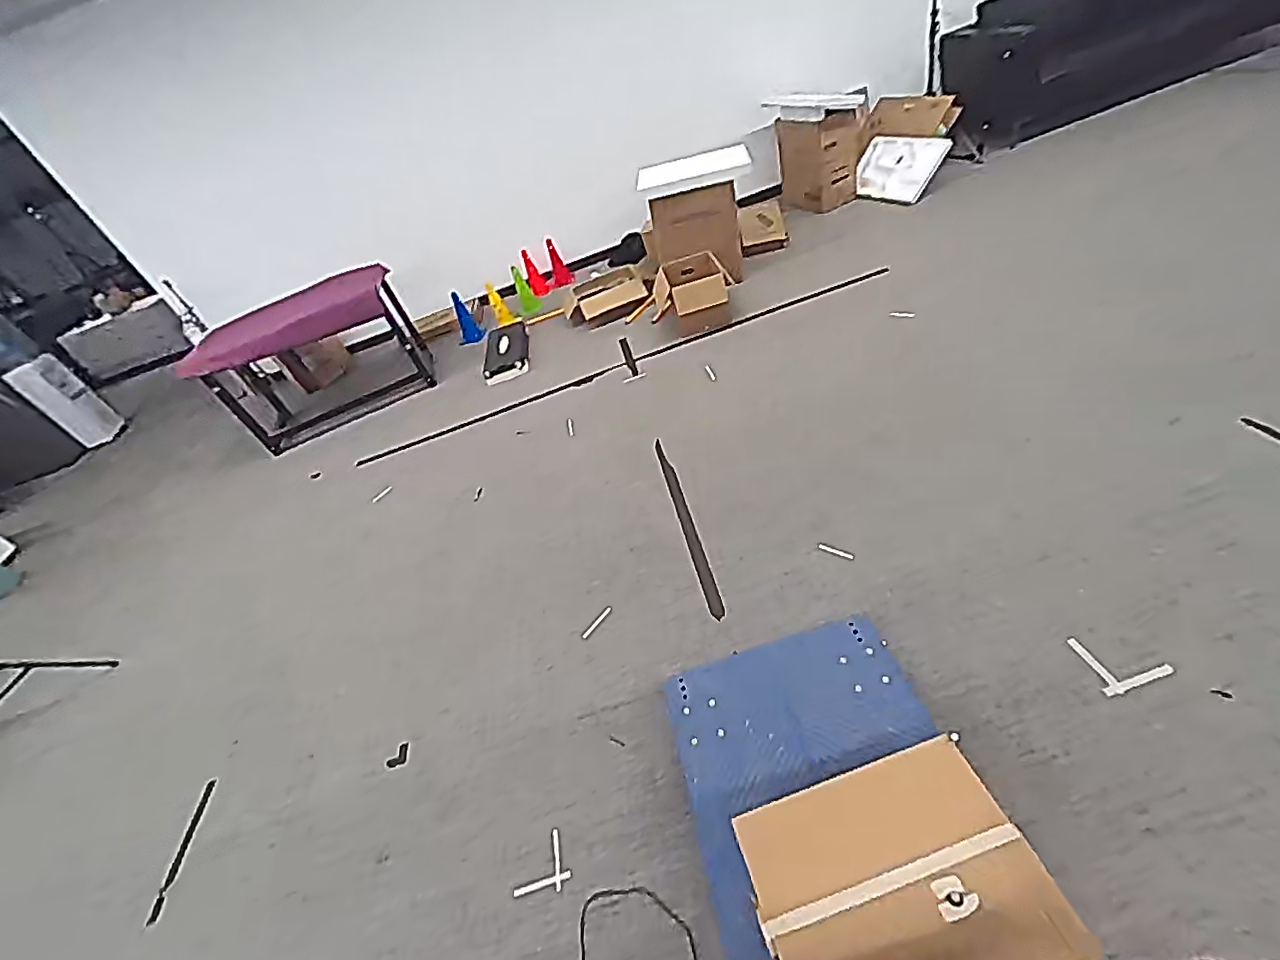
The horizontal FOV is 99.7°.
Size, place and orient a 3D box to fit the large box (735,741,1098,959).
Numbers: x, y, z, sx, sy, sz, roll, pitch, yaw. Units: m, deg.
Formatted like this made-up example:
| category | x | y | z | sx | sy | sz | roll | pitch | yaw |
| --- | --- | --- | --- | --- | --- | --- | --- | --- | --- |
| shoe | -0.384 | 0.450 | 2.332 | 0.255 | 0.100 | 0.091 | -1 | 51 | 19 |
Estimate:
| category | x | y | z | sx | sy | sz | roll | pitch | yaw |
| --- | --- | --- | --- | --- | --- | --- | --- | --- | --- |
| large box | 0.419 | 0.721 | 0.908 | 0.408 | 0.320 | 0.320 | -20 | 40 | -2 |
